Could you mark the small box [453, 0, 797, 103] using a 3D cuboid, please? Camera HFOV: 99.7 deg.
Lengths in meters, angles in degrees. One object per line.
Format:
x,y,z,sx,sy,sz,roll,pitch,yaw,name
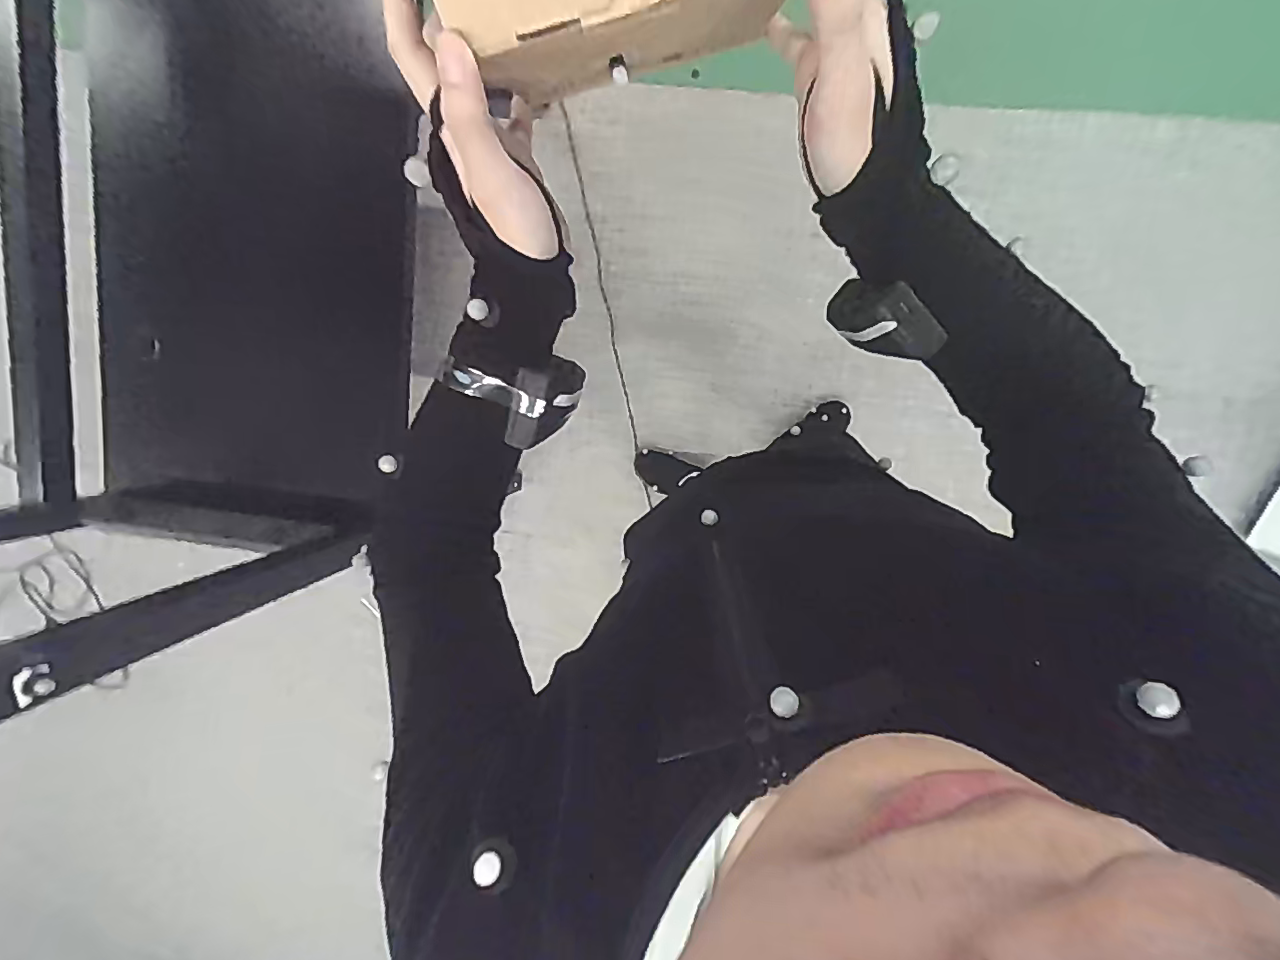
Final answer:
-0.015,-0.319,0.271,0.168,0.176,0.179,-10,119,8,small box
